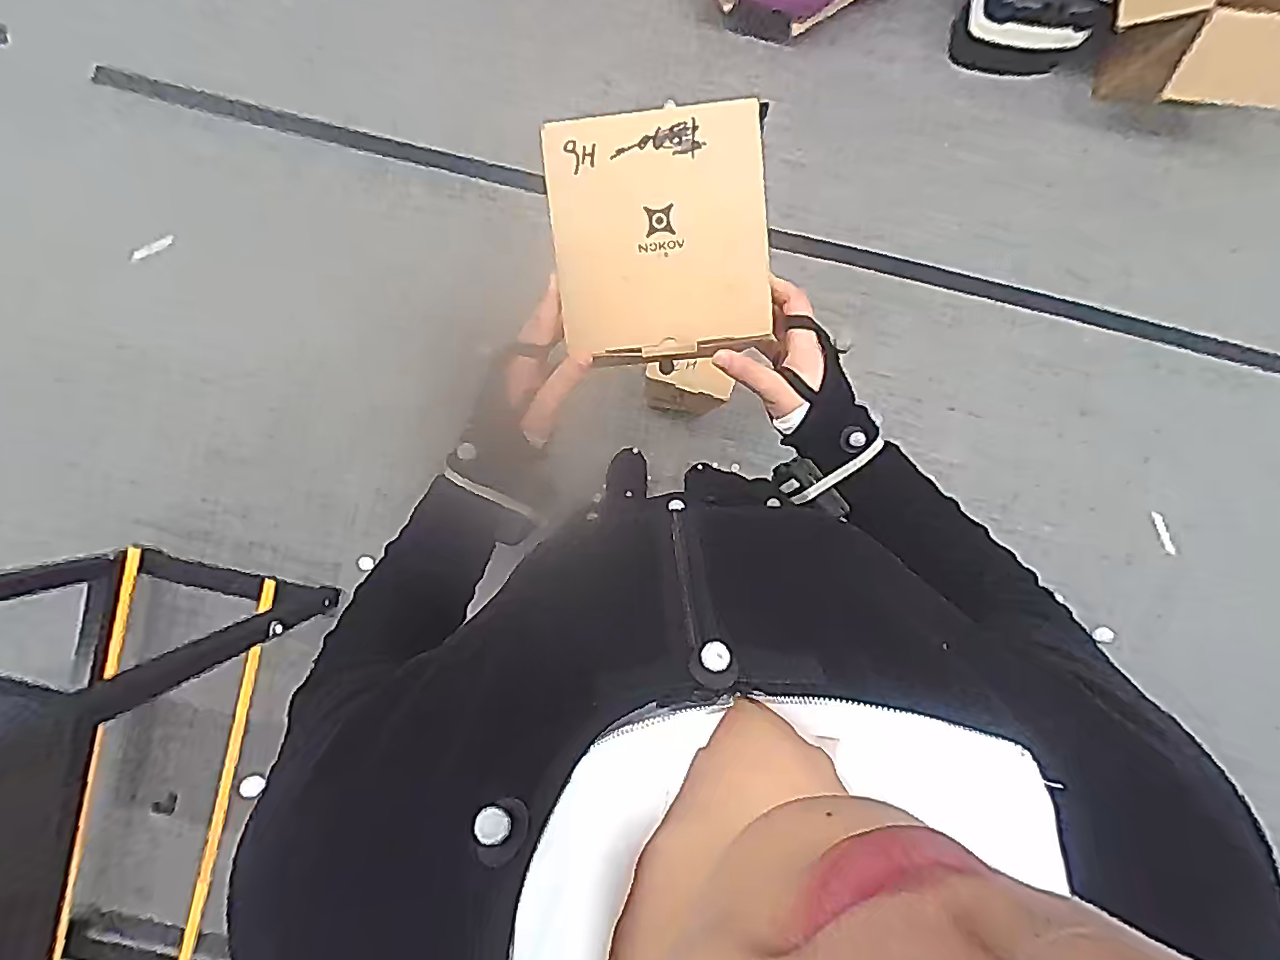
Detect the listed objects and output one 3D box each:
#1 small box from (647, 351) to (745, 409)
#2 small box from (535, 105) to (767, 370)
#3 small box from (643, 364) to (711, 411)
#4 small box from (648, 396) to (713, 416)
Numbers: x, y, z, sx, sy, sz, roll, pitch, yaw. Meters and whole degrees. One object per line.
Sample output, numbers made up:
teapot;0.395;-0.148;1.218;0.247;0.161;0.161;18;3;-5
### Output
small box;0.113;-0.251;1.074;0.168;0.176;0.179;17;93;0
small box;0.014;-0.196;0.490;0.168;0.176;0.179;-6;100;2
small box;0.111;-0.259;1.239;0.179;0.176;0.168;14;93;0
small box;0.113;-0.267;1.403;0.168;0.176;0.179;9;94;1
